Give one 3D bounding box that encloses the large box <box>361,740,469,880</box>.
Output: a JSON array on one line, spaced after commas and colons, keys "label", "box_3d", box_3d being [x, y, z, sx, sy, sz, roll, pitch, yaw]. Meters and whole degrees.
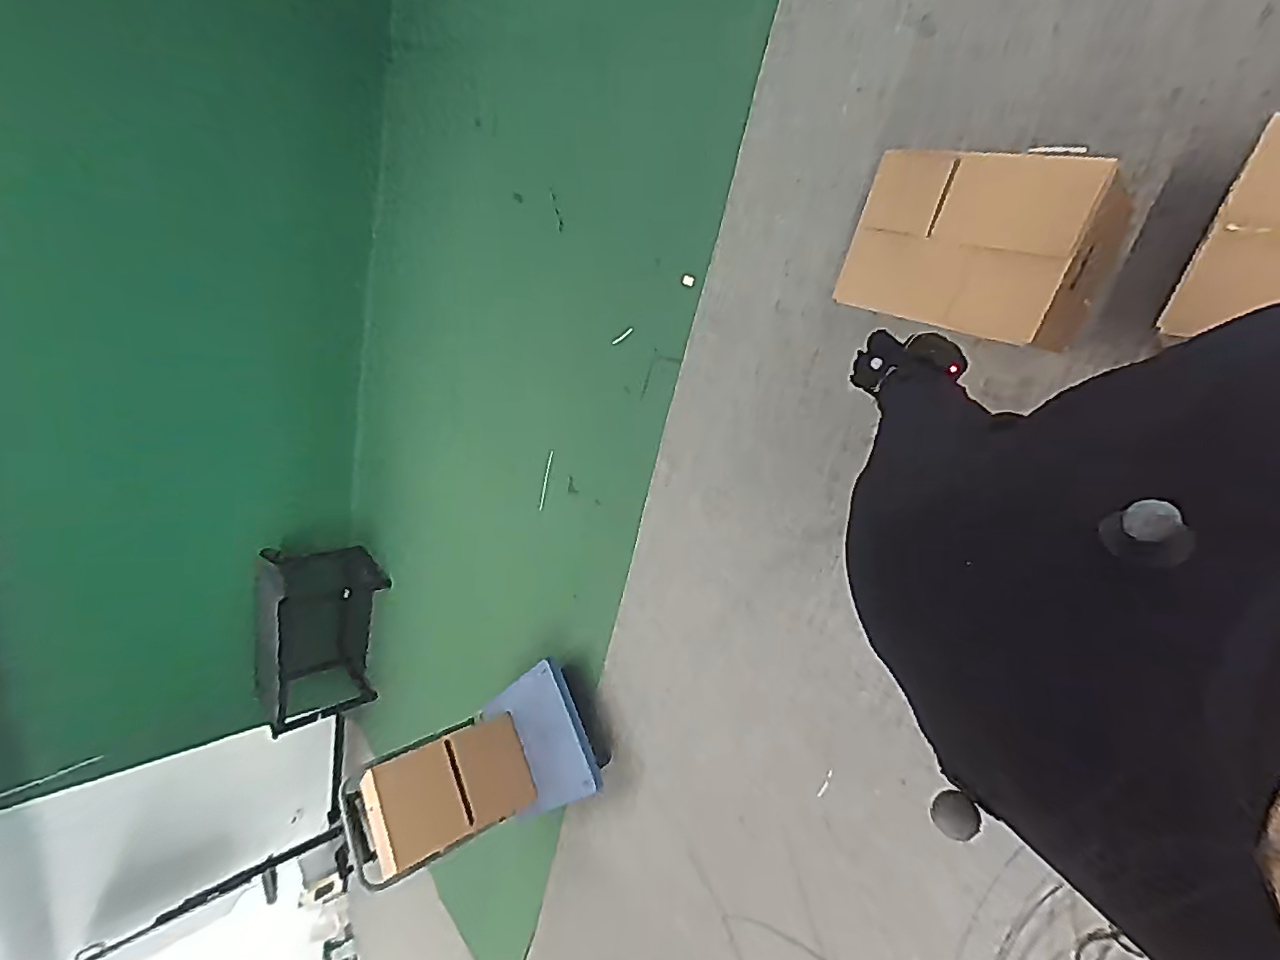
[{"label": "large box", "box_3d": [-0.976, 1.414, 2.329, 0.320, 0.320, 0.408, -50, 59, 42]}]
